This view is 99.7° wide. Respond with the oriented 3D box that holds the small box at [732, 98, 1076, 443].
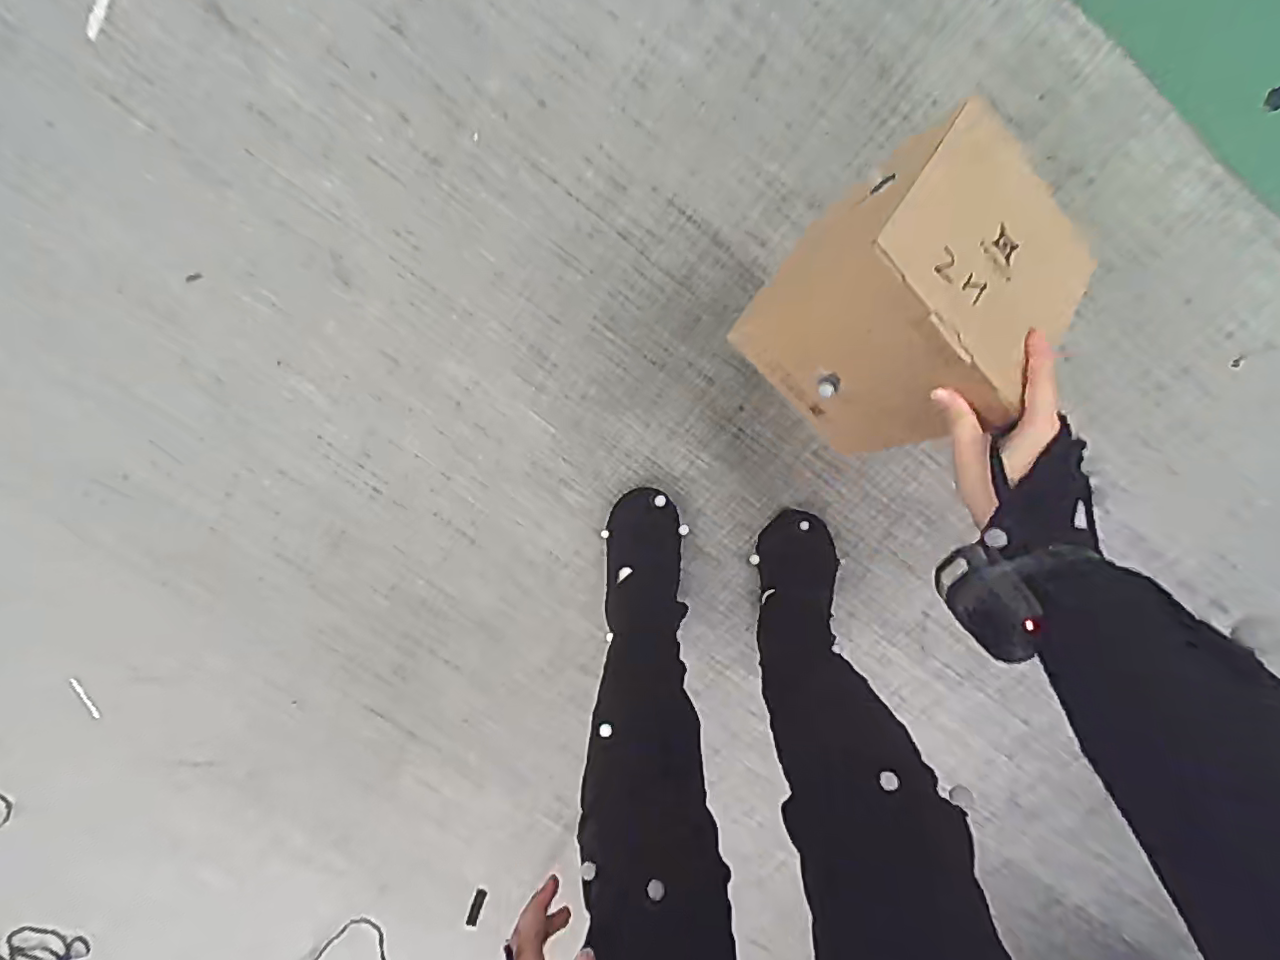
[{"bbox_3d":[0.210,-0.155,0.458,0.168,0.176,0.179,41,71,-13],"label":"small box"}]
